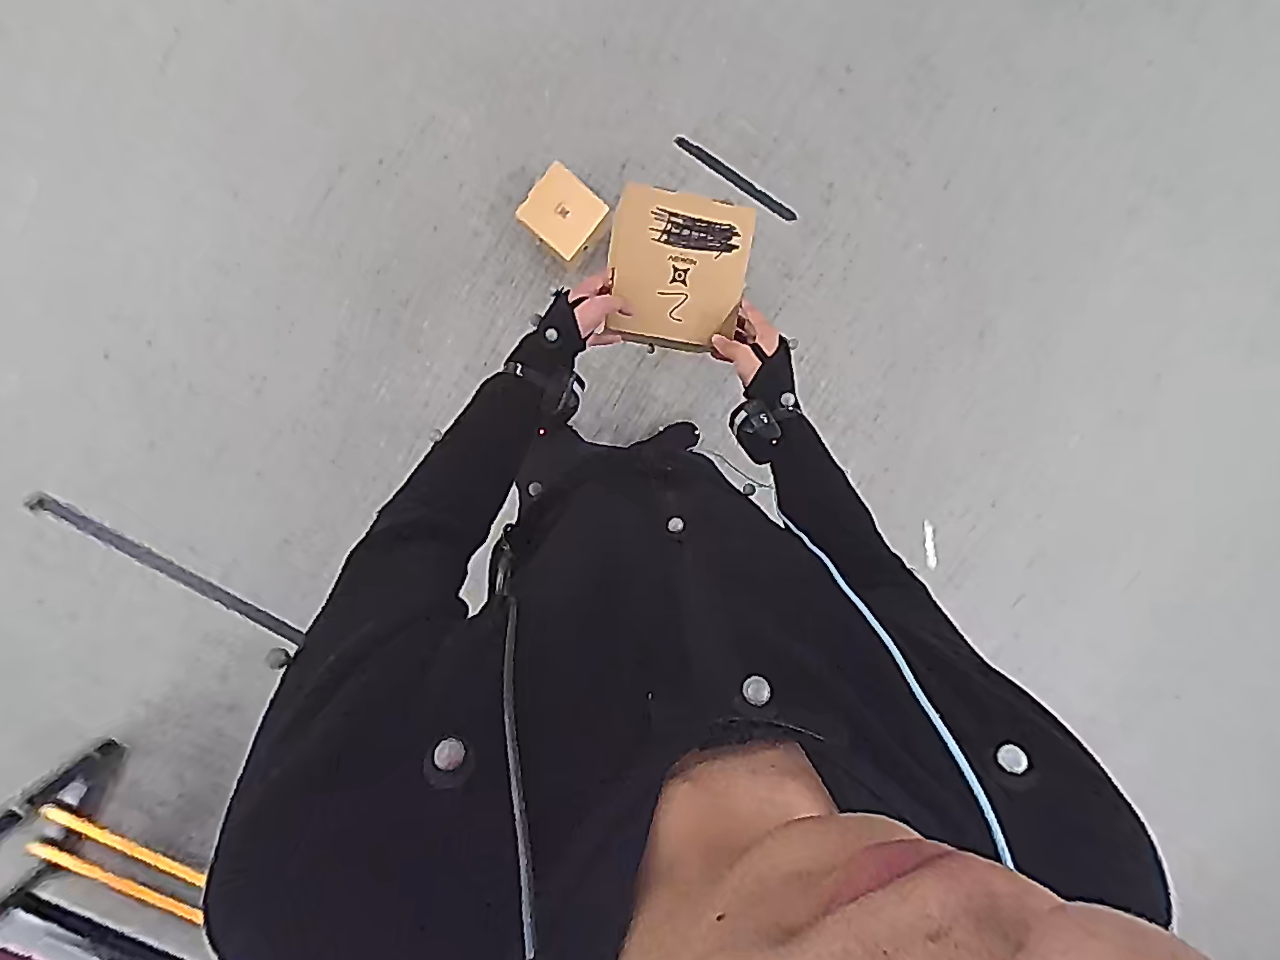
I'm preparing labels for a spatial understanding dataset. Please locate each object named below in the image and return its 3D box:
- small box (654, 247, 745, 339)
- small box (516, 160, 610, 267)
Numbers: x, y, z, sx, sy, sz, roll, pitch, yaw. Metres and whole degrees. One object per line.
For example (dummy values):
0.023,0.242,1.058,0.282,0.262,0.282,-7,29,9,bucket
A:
0.152,-0.495,1.468,0.179,0.176,0.168,30,98,-9,small box
-0.193,-0.684,1.418,0.179,0.176,0.168,40,97,-8,small box
